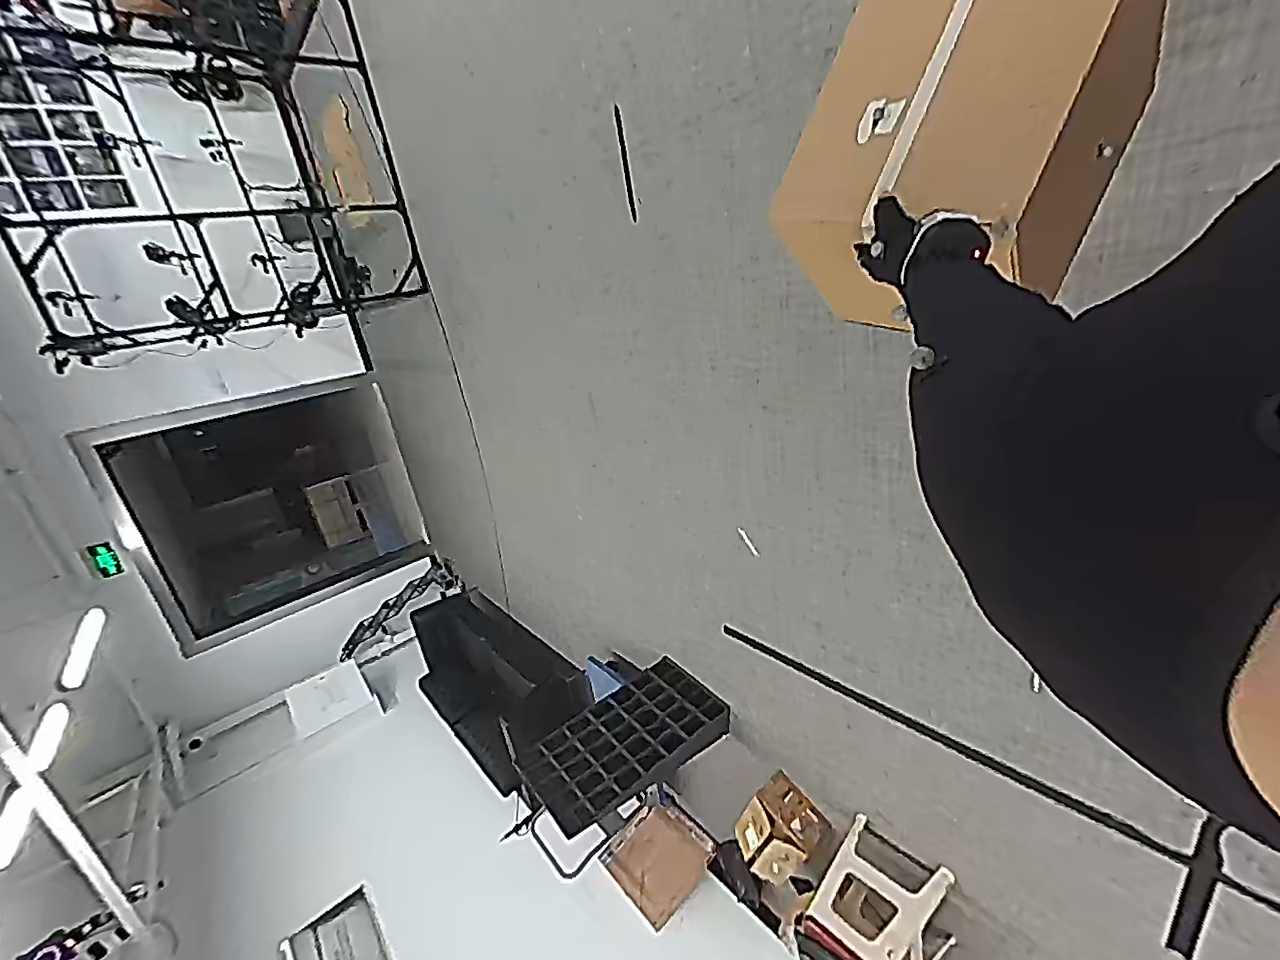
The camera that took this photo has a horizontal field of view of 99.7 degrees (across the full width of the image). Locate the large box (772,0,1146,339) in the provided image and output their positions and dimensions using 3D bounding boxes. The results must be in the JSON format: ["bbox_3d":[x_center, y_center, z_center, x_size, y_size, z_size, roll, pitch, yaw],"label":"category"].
[{"bbox_3d":[0.457,-0.470,0.779,0.320,0.320,0.408,26,95,42],"label":"large box"}]
